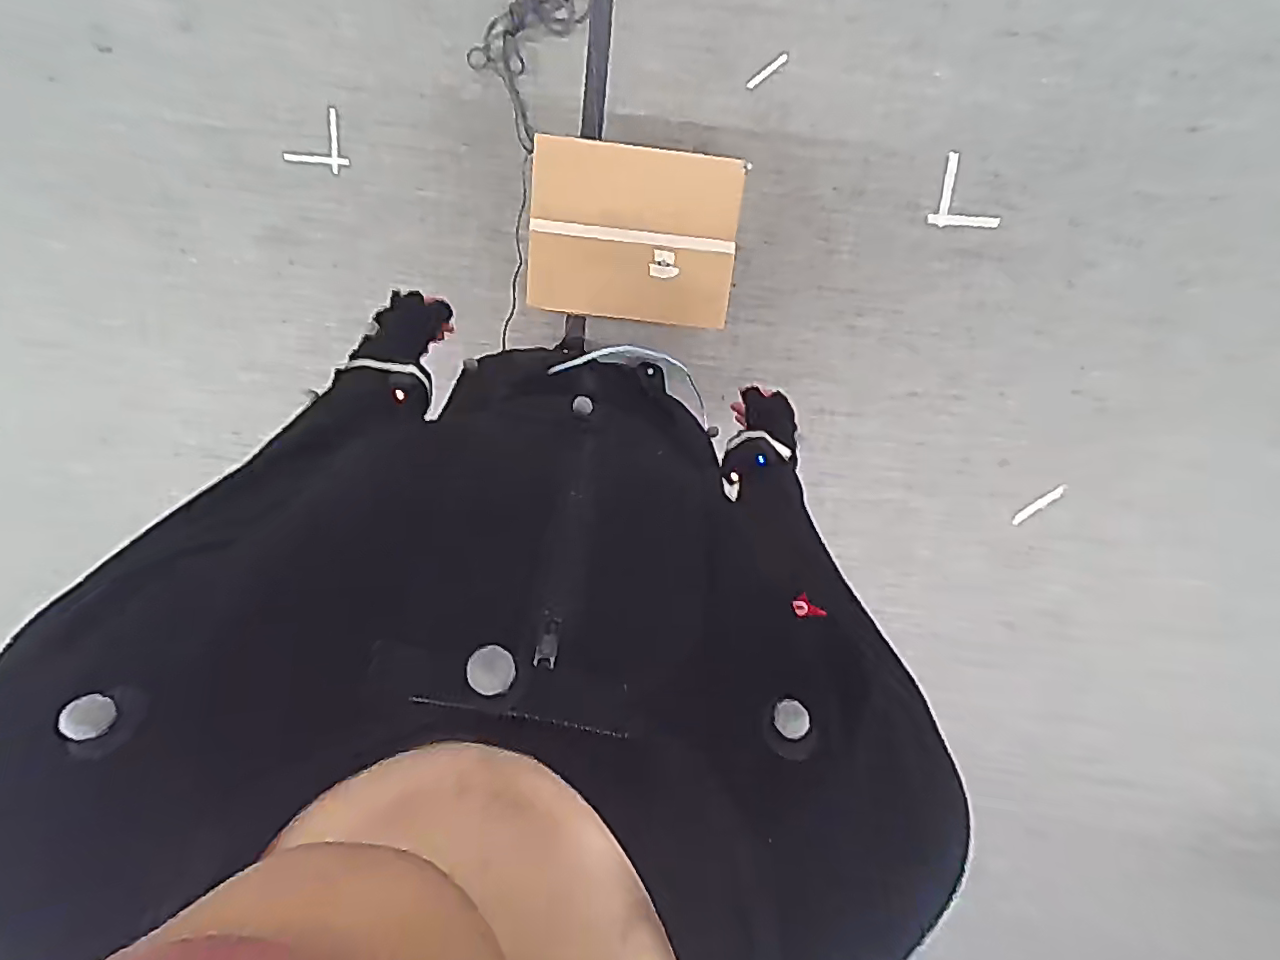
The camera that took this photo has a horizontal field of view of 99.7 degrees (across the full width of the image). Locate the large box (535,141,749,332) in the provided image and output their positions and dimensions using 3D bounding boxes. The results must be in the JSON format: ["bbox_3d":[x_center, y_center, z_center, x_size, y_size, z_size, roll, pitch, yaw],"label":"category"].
[{"bbox_3d":[-0.008,-0.512,1.209,0.408,0.320,0.320,6,106,-3],"label":"large box"}]
